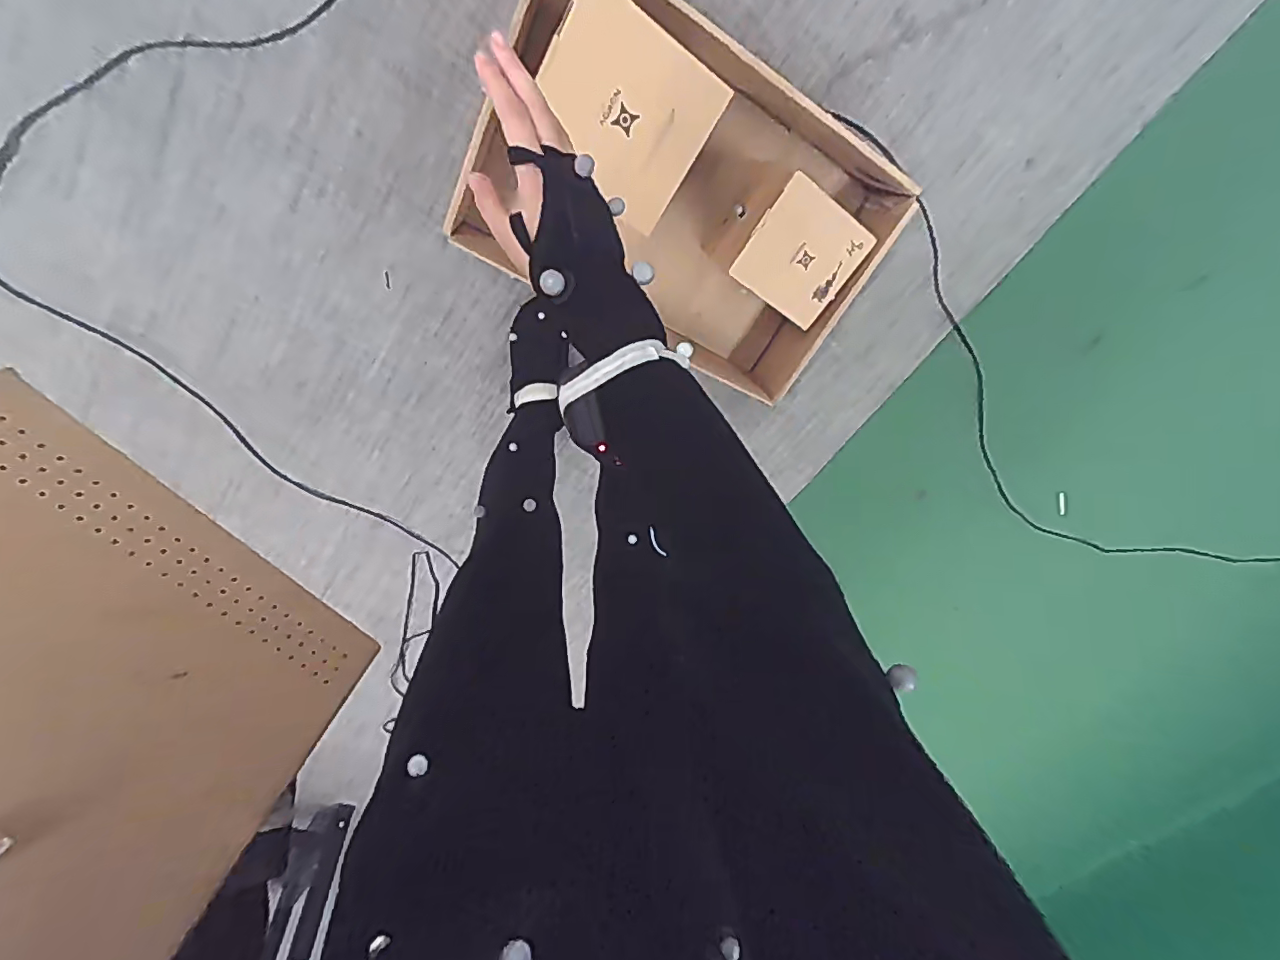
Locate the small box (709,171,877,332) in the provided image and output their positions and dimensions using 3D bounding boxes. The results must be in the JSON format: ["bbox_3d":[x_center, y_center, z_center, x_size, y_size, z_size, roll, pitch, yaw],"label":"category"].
[{"bbox_3d":[0.237,-0.376,0.885,0.179,0.176,0.168,28,115,-23],"label":"small box"}]

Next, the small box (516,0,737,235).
[{"bbox_3d":[-0.023,-0.417,0.622,0.179,0.176,0.168,26,117,-24],"label":"small box"}]
